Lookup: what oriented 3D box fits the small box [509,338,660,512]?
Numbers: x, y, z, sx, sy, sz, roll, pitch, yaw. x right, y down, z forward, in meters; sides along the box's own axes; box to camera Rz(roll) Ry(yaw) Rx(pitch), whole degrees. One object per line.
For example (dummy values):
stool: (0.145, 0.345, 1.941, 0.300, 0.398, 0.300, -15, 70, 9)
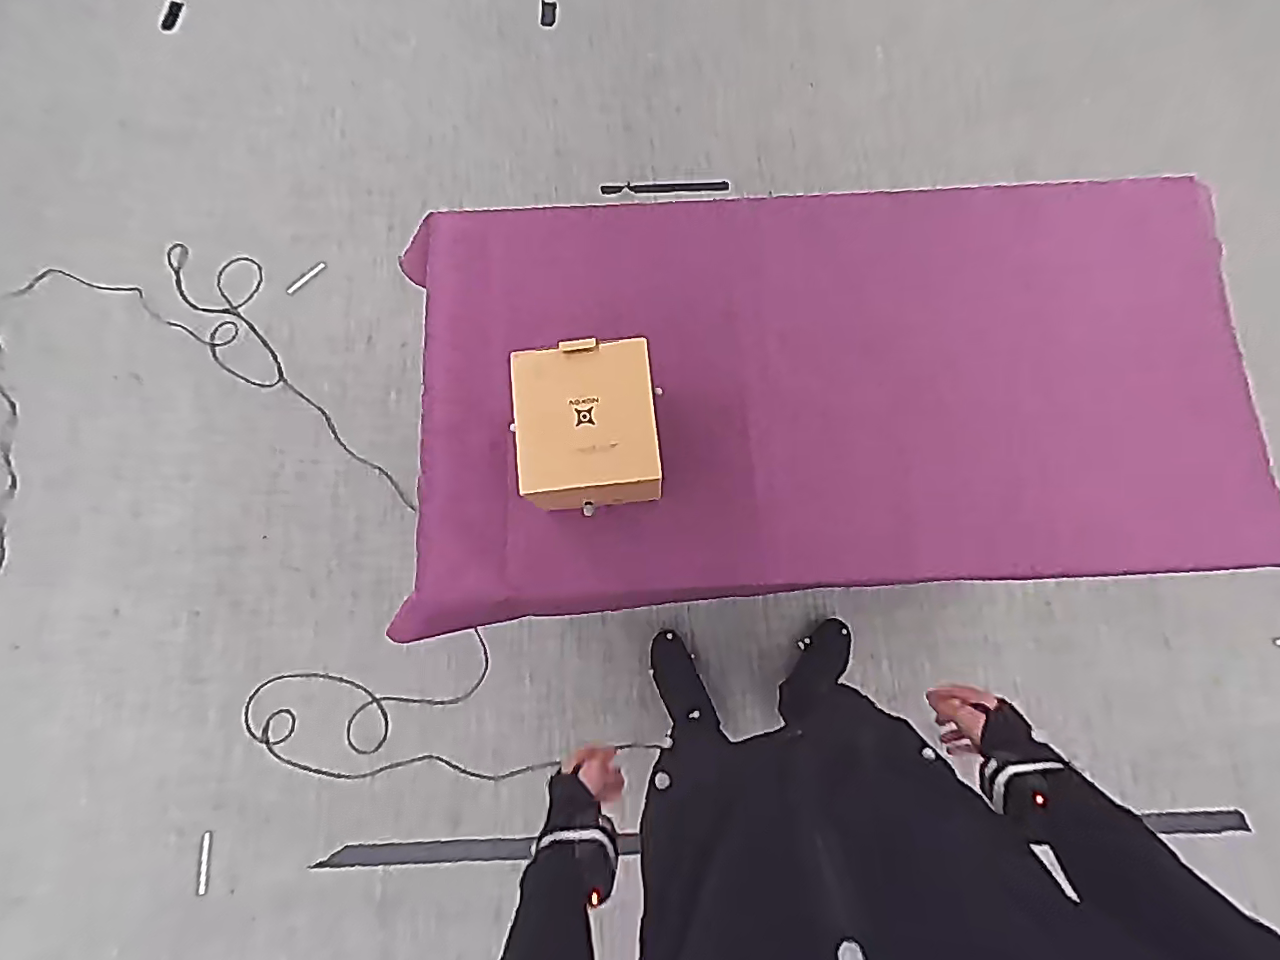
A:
small box: (-0.066, -0.061, 0.699, 0.168, 0.176, 0.179, -6, 79, 0)
